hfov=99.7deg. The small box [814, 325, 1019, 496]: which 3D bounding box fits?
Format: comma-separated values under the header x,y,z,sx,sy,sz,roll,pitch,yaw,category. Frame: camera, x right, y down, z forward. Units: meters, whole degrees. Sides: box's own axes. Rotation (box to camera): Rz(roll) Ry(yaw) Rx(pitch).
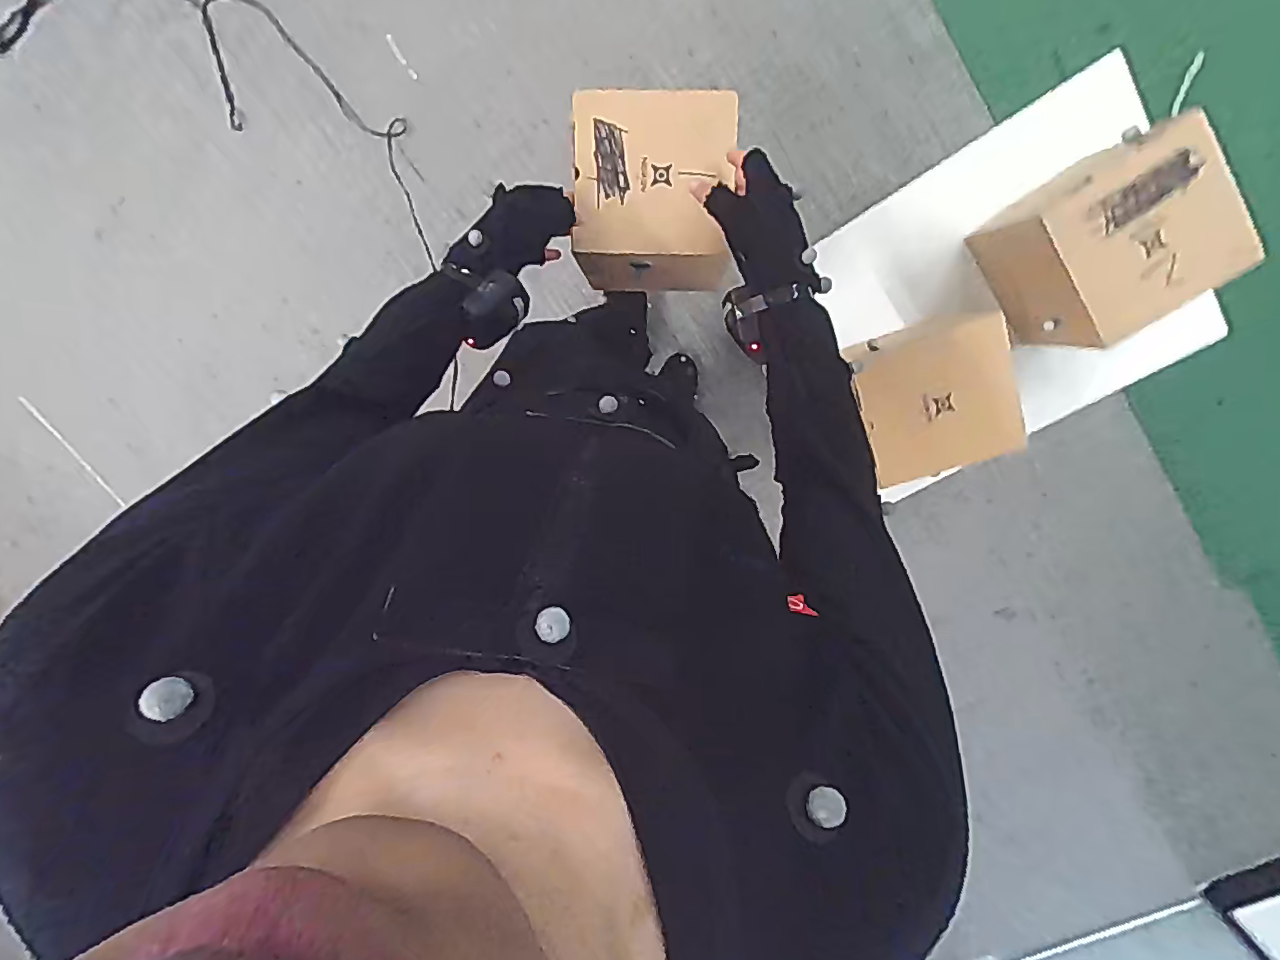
x,y,z,sx,sy,sz,roll,pitch,yaw,category
0.352,-0.099,0.716,0.179,0.176,0.168,-18,102,9,small box
